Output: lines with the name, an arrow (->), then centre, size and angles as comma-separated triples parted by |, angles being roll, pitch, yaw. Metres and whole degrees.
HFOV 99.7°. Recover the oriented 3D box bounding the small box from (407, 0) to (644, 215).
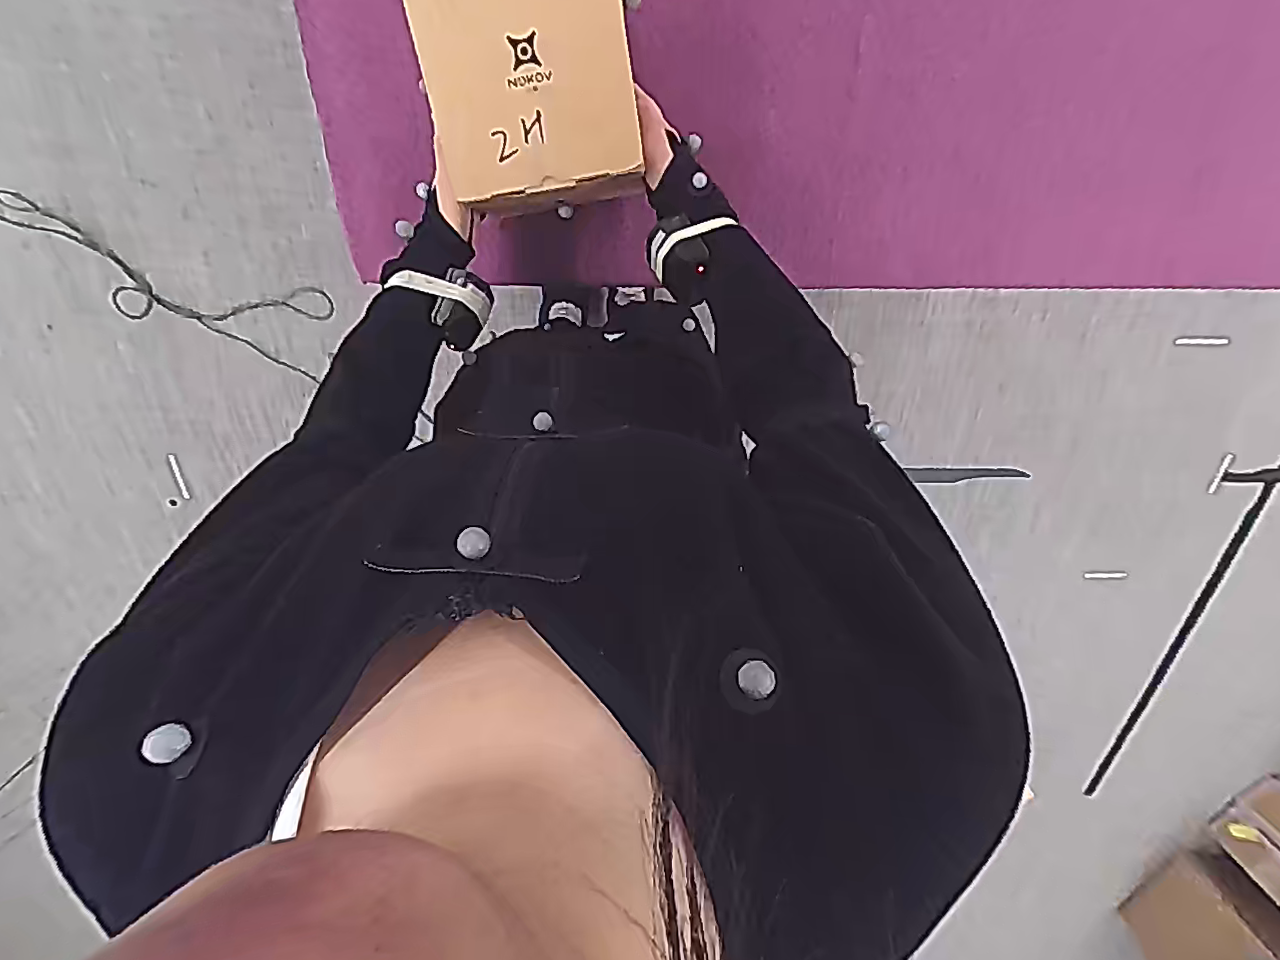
small box -> -0.091, -0.358, 0.497 | 0.168, 0.176, 0.179 | -9, 112, 2
